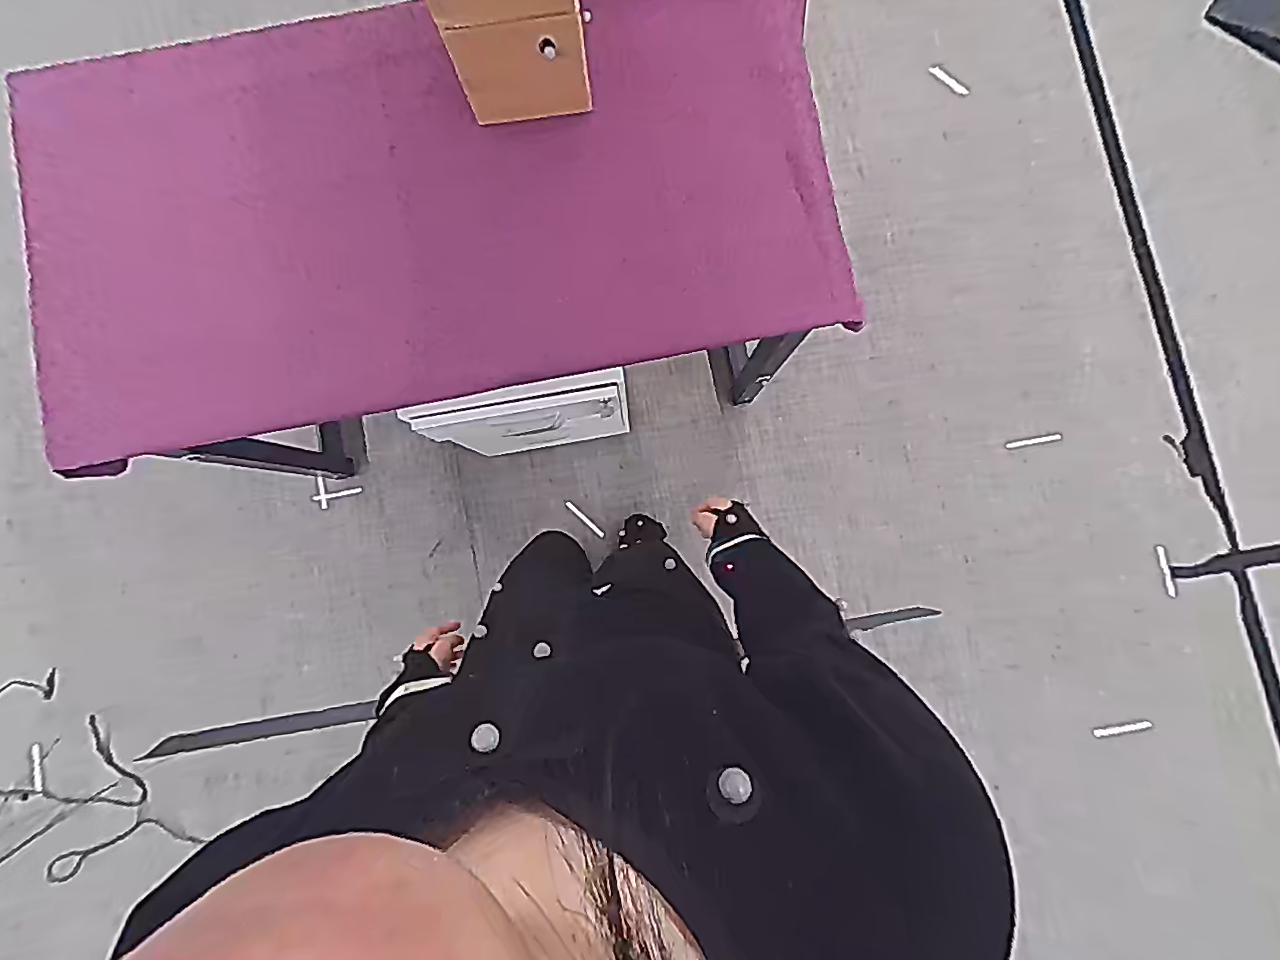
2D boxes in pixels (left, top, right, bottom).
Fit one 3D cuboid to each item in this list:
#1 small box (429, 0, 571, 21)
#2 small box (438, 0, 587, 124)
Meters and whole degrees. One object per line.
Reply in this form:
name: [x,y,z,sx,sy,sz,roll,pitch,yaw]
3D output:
small box: [-0.173,-0.647,0.584,0.179,0.176,0.168,-6,87,1]
small box: [-0.170,-0.634,0.748,0.179,0.176,0.168,-7,86,0]
